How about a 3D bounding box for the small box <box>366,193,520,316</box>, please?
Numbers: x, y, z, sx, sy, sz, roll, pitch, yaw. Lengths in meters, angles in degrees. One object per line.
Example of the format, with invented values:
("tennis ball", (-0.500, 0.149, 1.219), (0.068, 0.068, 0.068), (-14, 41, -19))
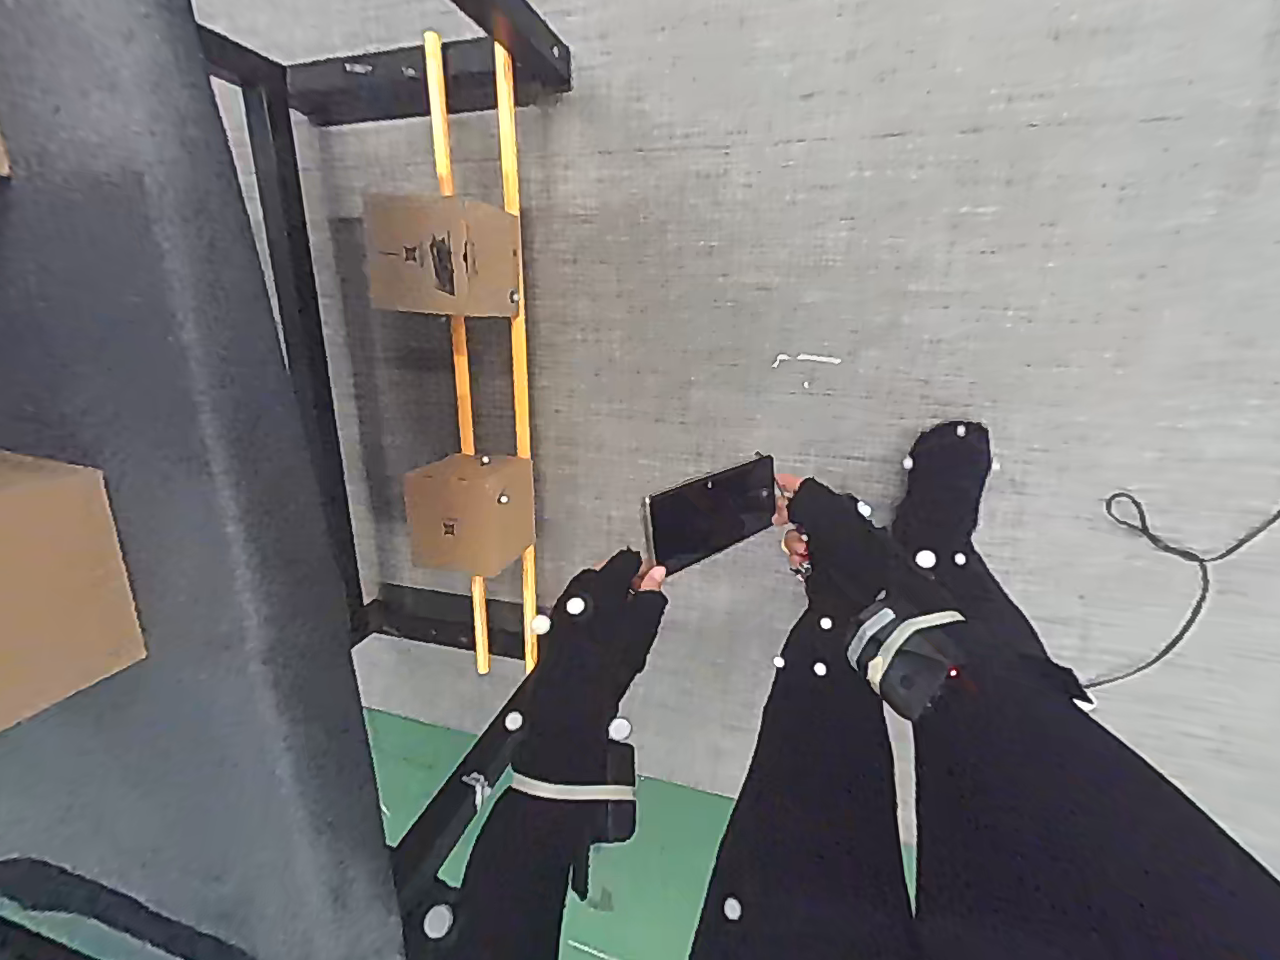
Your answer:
("small box", (-0.309, -0.360, 0.882), (0.179, 0.176, 0.168), (9, 108, 14))
